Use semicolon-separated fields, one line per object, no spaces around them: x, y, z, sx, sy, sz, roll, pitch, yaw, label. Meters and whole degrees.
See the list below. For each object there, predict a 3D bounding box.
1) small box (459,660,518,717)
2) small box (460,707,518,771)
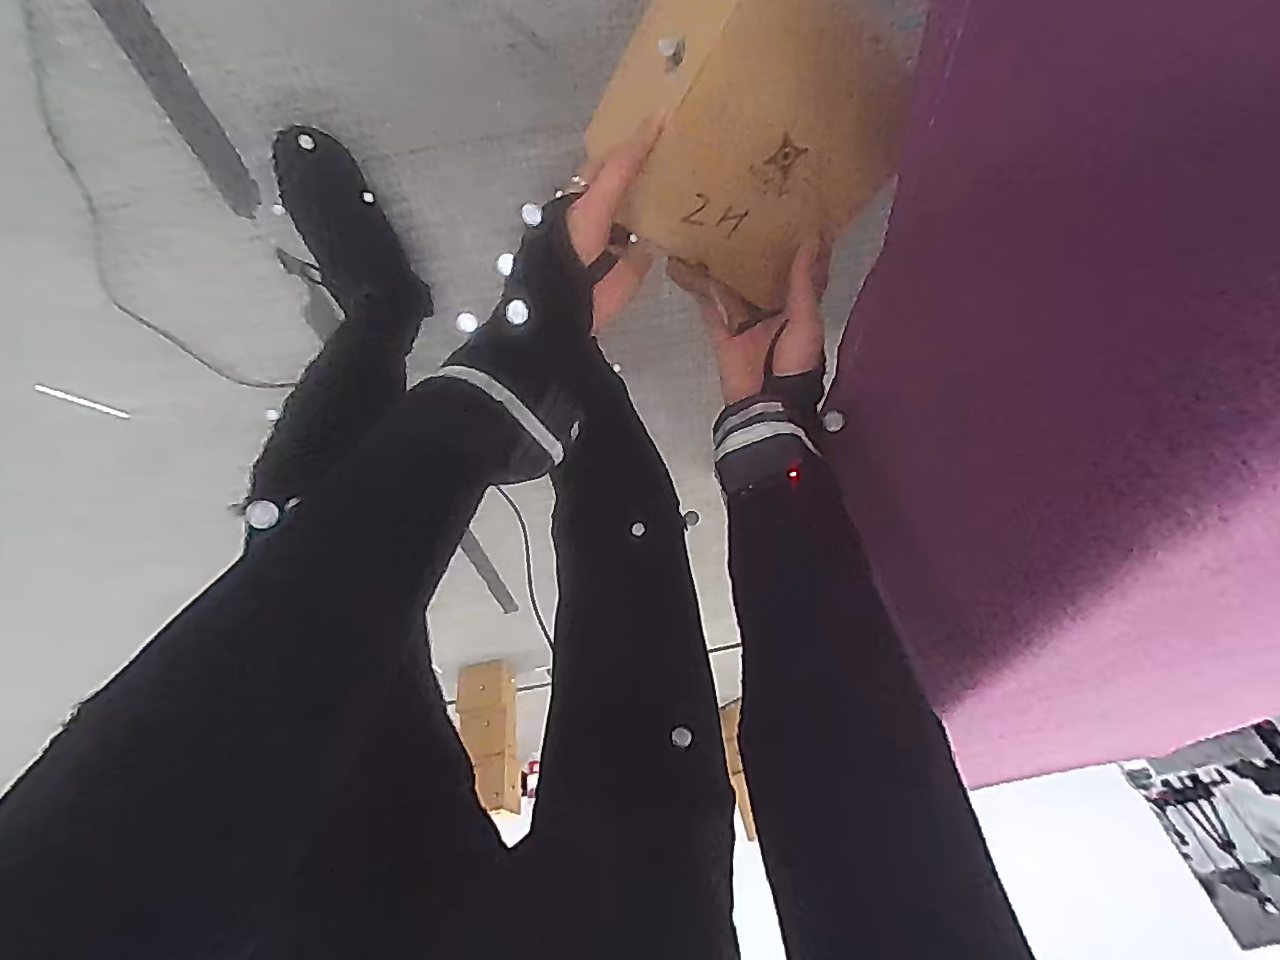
-0.569;0.804;2.050;0.179;0.176;0.168;-11;142;0;small box
-0.541;0.937;1.960;0.168;0.176;0.179;-7;141;-3;small box
